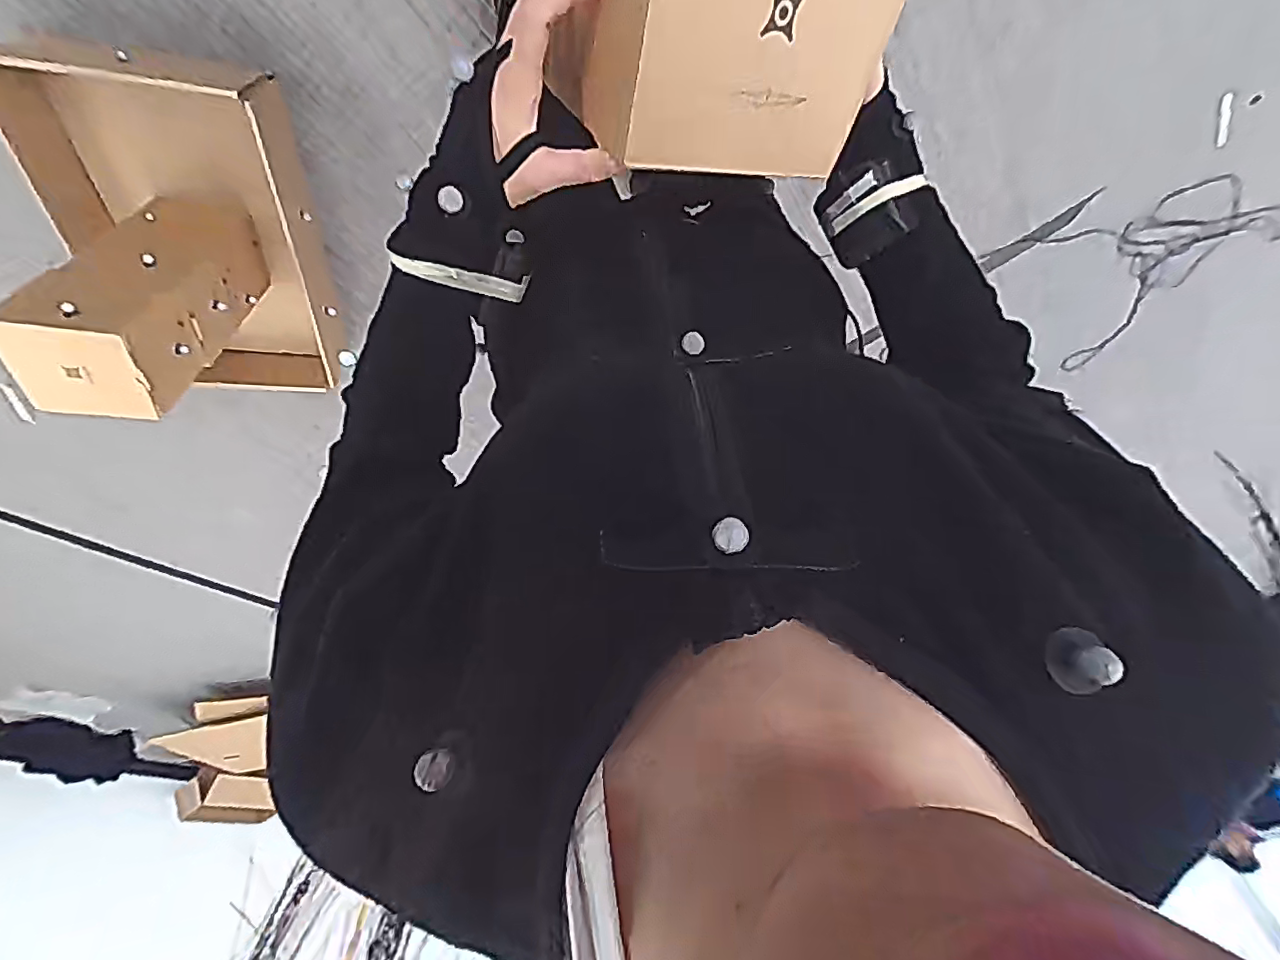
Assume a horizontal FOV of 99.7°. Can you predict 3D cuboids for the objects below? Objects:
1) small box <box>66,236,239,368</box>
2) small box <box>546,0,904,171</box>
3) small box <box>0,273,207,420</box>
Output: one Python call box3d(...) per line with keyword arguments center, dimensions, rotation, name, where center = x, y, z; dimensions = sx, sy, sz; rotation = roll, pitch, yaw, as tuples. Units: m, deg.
box3d(center=(-0.884, -0.333, 1.007), dimensions=(0.179, 0.176, 0.168), rotation=(4, 134, -15), name="small box")
box3d(center=(0.048, -0.323, 0.337), dimensions=(0.168, 0.176, 0.179), rotation=(-11, 142, -25), name="small box")
box3d(center=(-0.868, -0.221, 0.889), dimensions=(0.179, 0.176, 0.168), rotation=(3, 135, -14), name="small box")
